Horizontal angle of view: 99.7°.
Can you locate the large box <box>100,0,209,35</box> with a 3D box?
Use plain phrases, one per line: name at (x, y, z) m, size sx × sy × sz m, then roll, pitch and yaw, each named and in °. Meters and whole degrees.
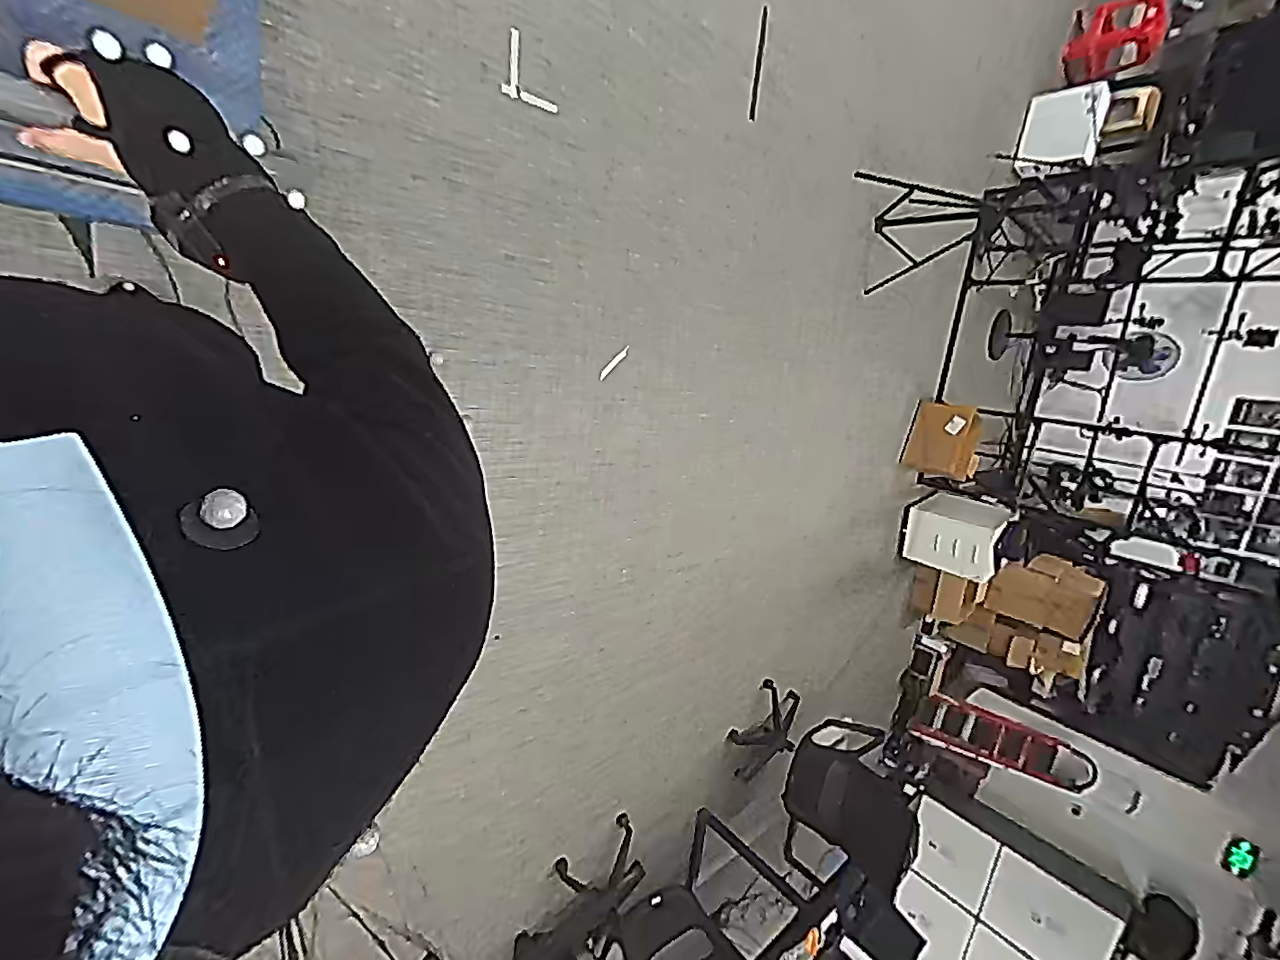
large box at (-0.788, -0.857, 0.660) m, size 0.408 × 0.320 × 0.320 m, roll -2°, pitch 105°, yaw -42°
